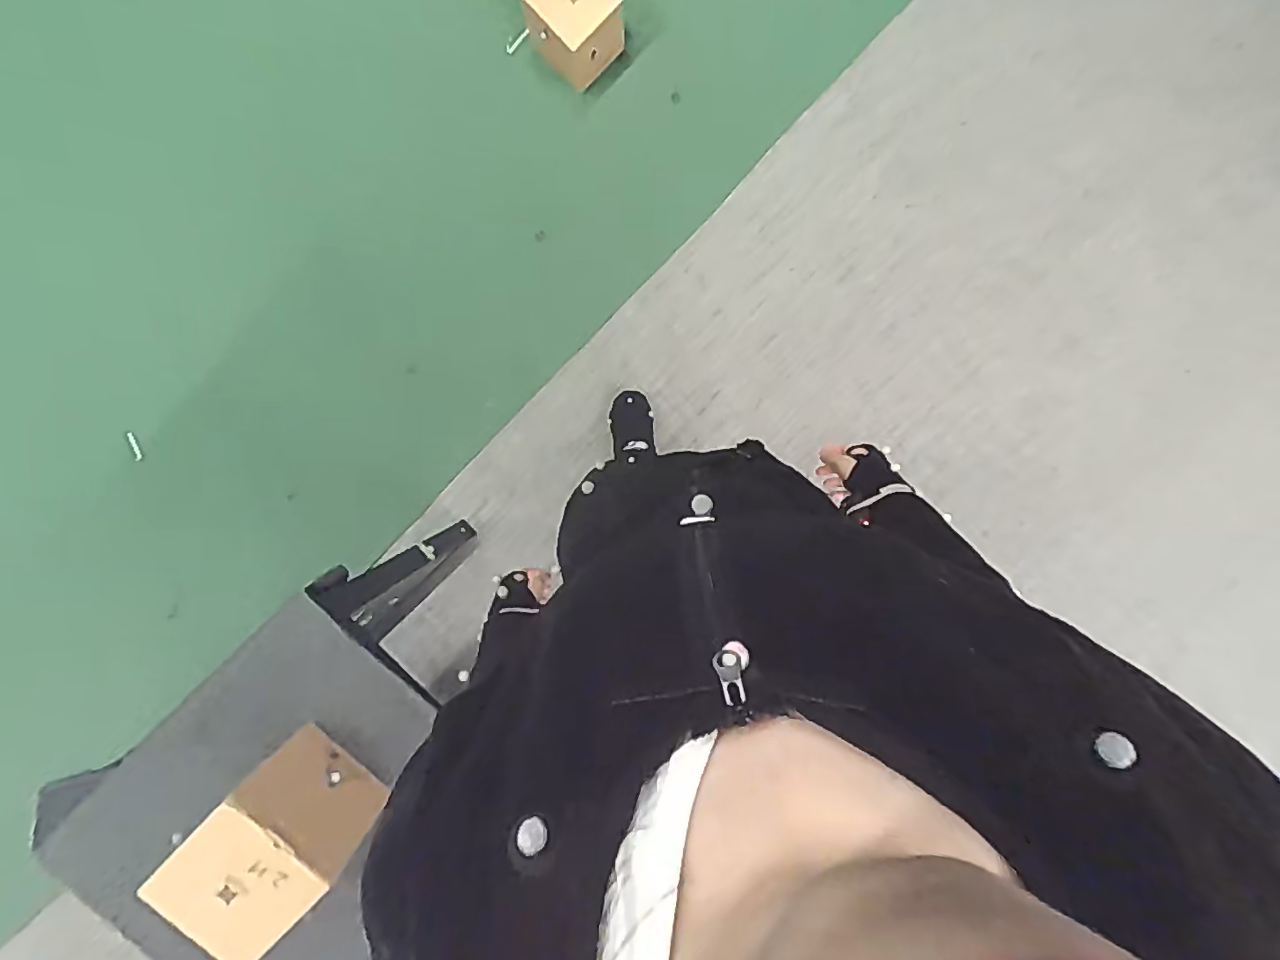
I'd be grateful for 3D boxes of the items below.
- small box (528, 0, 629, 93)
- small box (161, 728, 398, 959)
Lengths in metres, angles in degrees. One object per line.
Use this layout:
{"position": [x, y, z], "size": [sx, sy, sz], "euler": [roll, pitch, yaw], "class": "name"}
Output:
{"position": [-0.141, -1.099, 1.323], "size": [0.168, 0.176, 0.179], "euler": [-45, 92, 5], "class": "small box"}
{"position": [-0.477, 0.490, 0.747], "size": [0.179, 0.176, 0.168], "euler": [-44, 92, 1], "class": "small box"}
